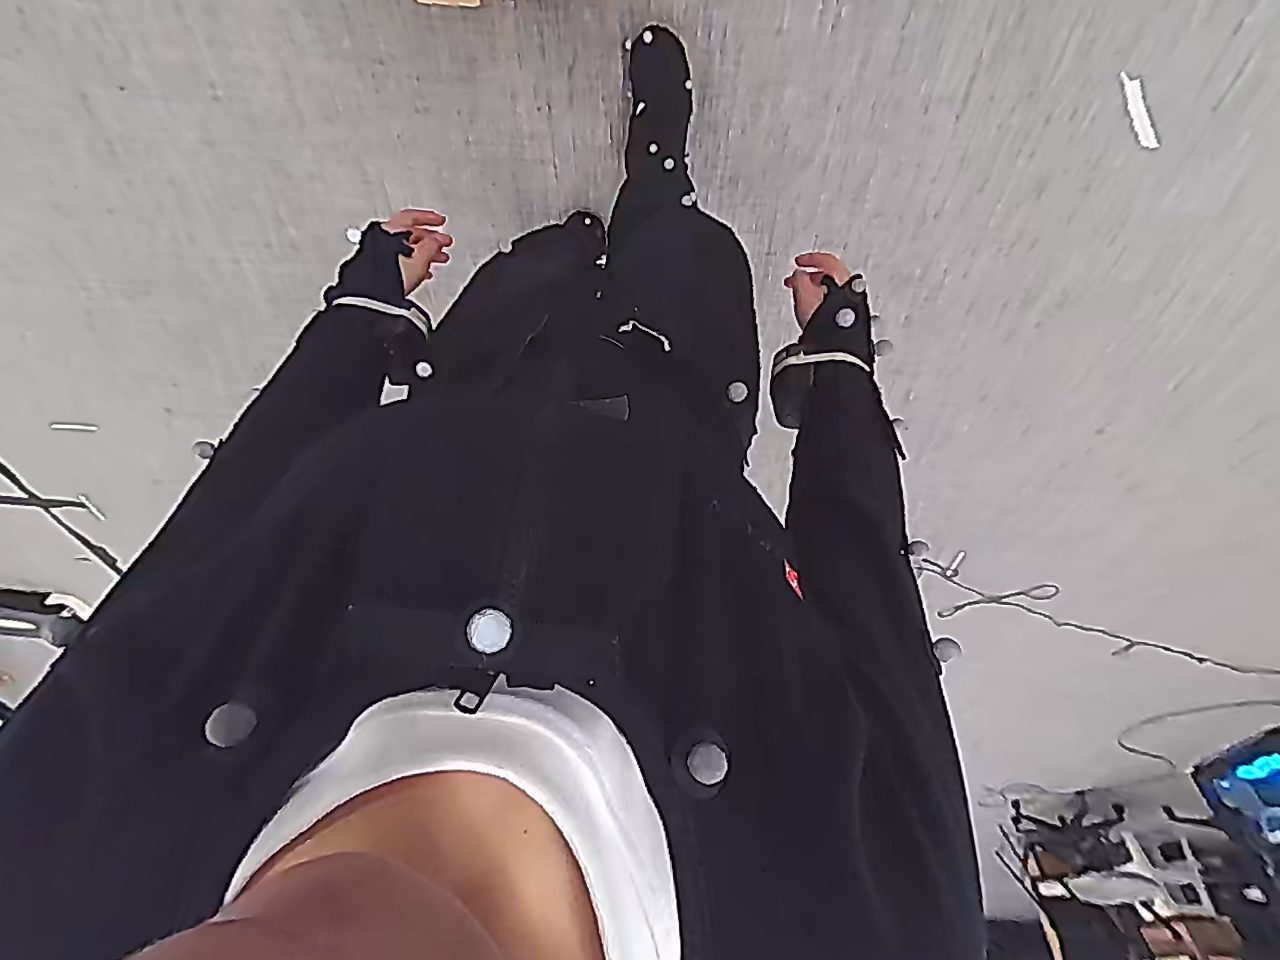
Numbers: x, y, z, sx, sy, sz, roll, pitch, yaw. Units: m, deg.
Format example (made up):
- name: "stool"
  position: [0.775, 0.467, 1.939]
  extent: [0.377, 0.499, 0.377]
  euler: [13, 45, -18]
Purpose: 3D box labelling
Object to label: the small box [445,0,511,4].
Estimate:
- name: "small box"
  position: [-0.278, -0.837, 0.809]
  extent: [0.168, 0.176, 0.179]
  euler: [5, 133, 1]
